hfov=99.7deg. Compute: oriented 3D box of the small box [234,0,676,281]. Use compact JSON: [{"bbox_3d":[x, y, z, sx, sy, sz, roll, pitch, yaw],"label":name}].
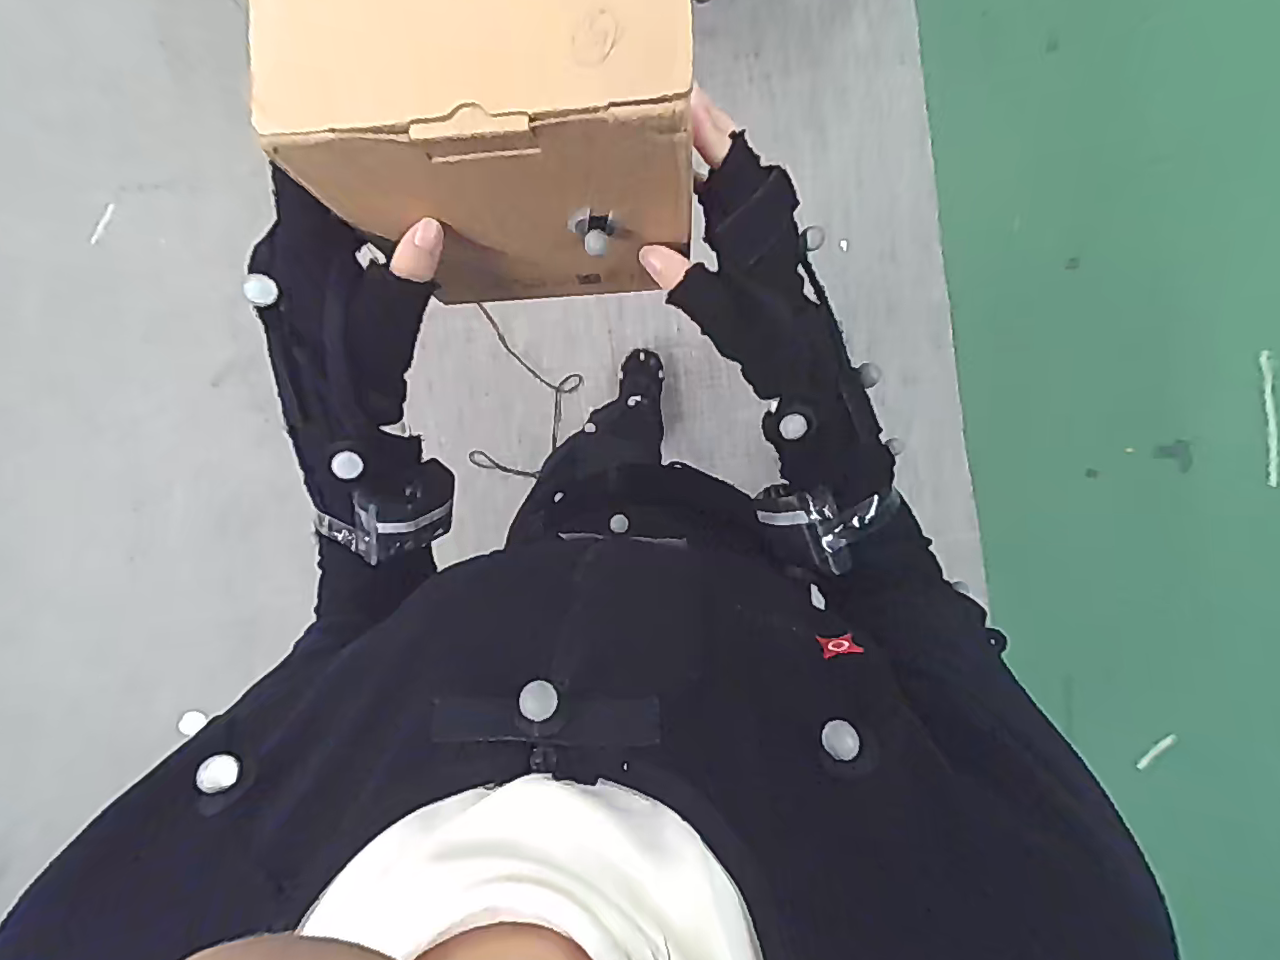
[{"bbox_3d":[-0.065,-0.217,0.281,0.168,0.176,0.179,-2,86,3],"label":"small box"}]
